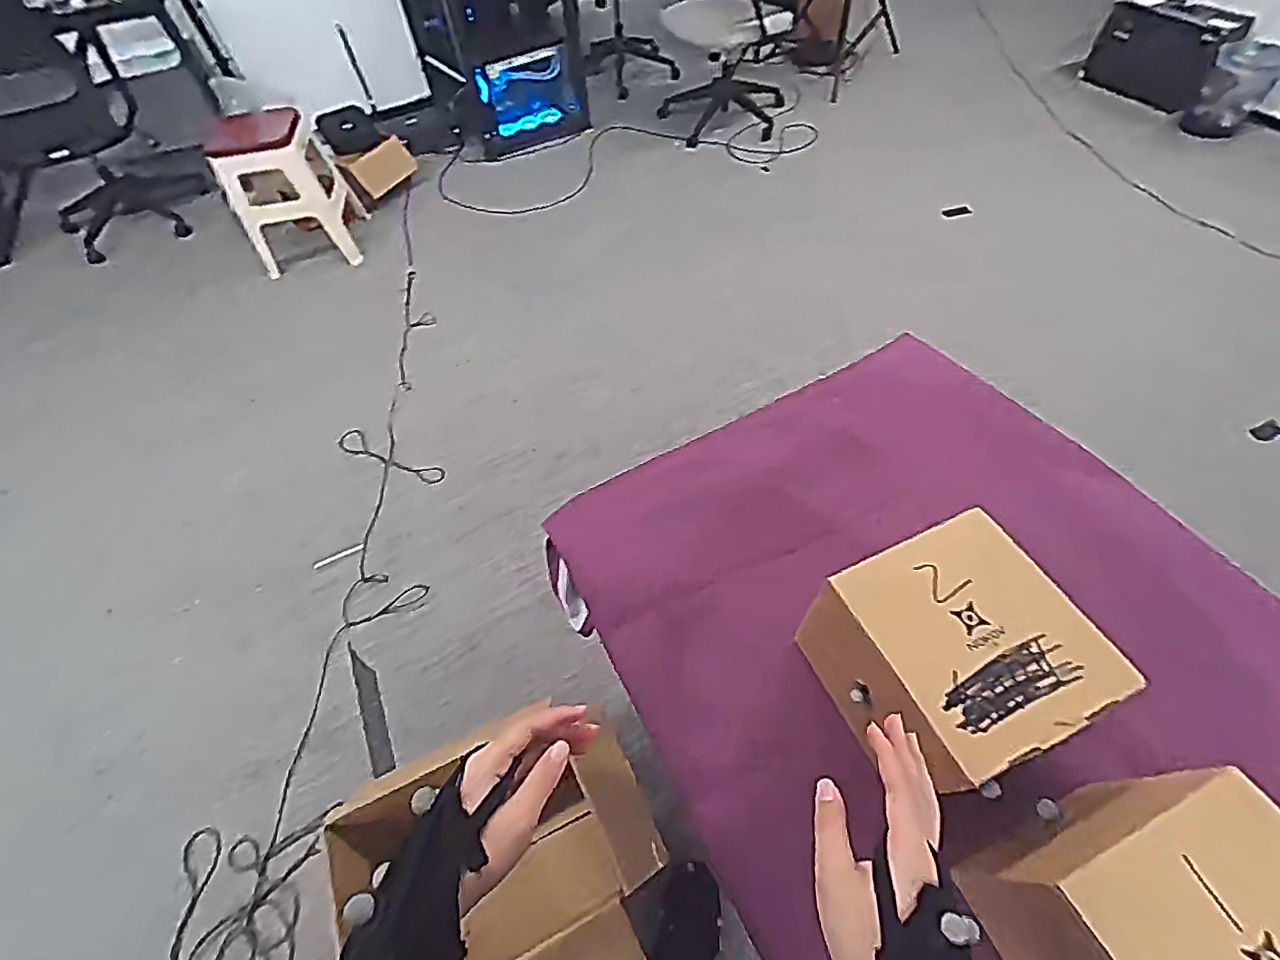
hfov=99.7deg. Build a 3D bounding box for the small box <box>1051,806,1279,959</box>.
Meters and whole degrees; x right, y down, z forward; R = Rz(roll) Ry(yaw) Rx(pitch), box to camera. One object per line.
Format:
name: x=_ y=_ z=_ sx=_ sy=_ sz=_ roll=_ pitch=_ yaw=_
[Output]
small box: x=0.409 y=0.364 z=0.339 sx=0.179 sy=0.176 sz=0.168 roll=36 pitch=106 yaw=29
